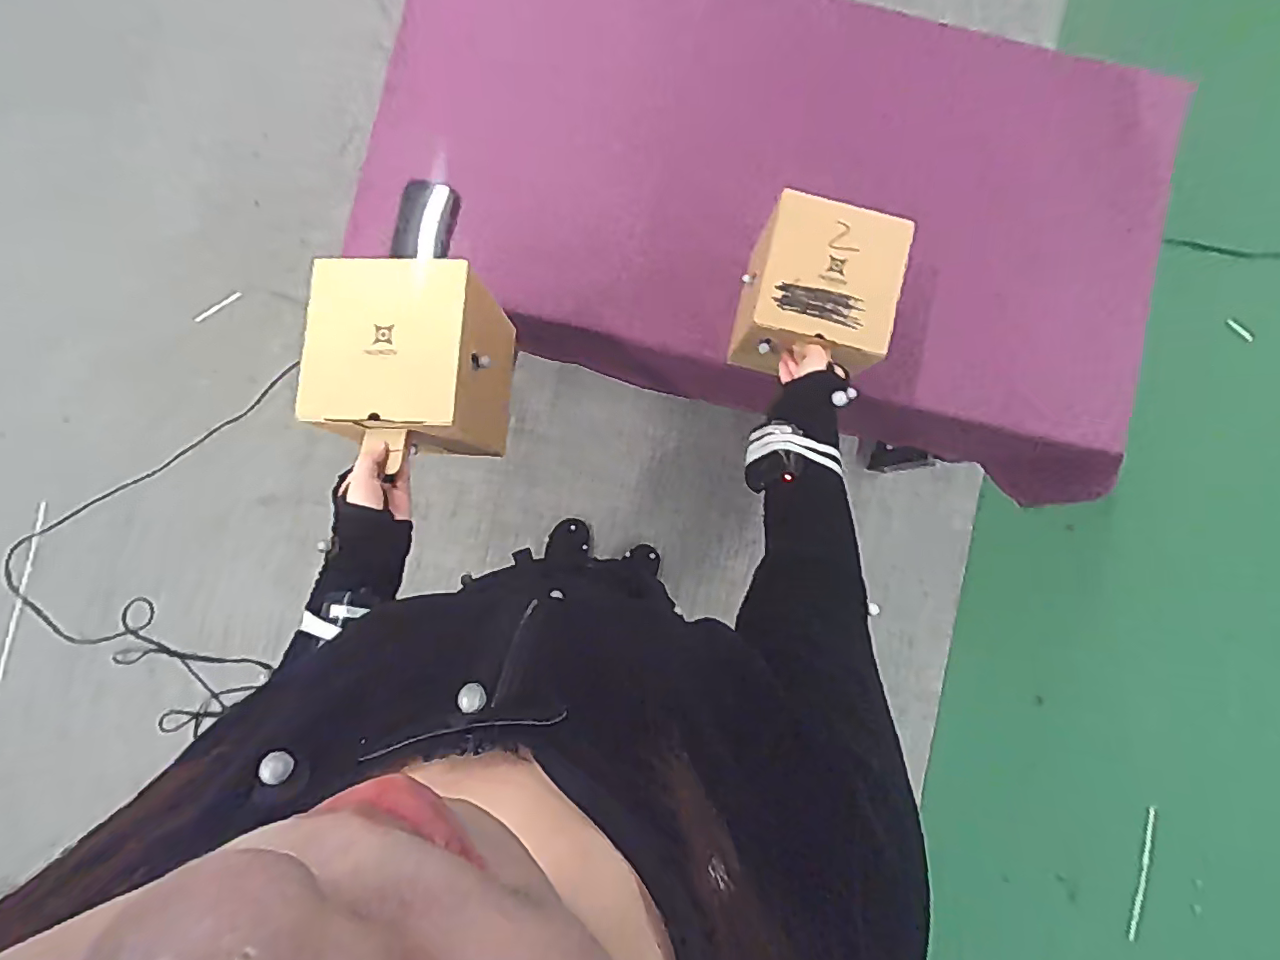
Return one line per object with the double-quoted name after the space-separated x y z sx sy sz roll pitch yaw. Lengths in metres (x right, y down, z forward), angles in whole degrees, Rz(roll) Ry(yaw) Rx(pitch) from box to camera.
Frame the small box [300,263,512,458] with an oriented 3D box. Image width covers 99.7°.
-0.256 -0.130 0.636 0.168 0.176 0.179 2 83 4 "small box"
